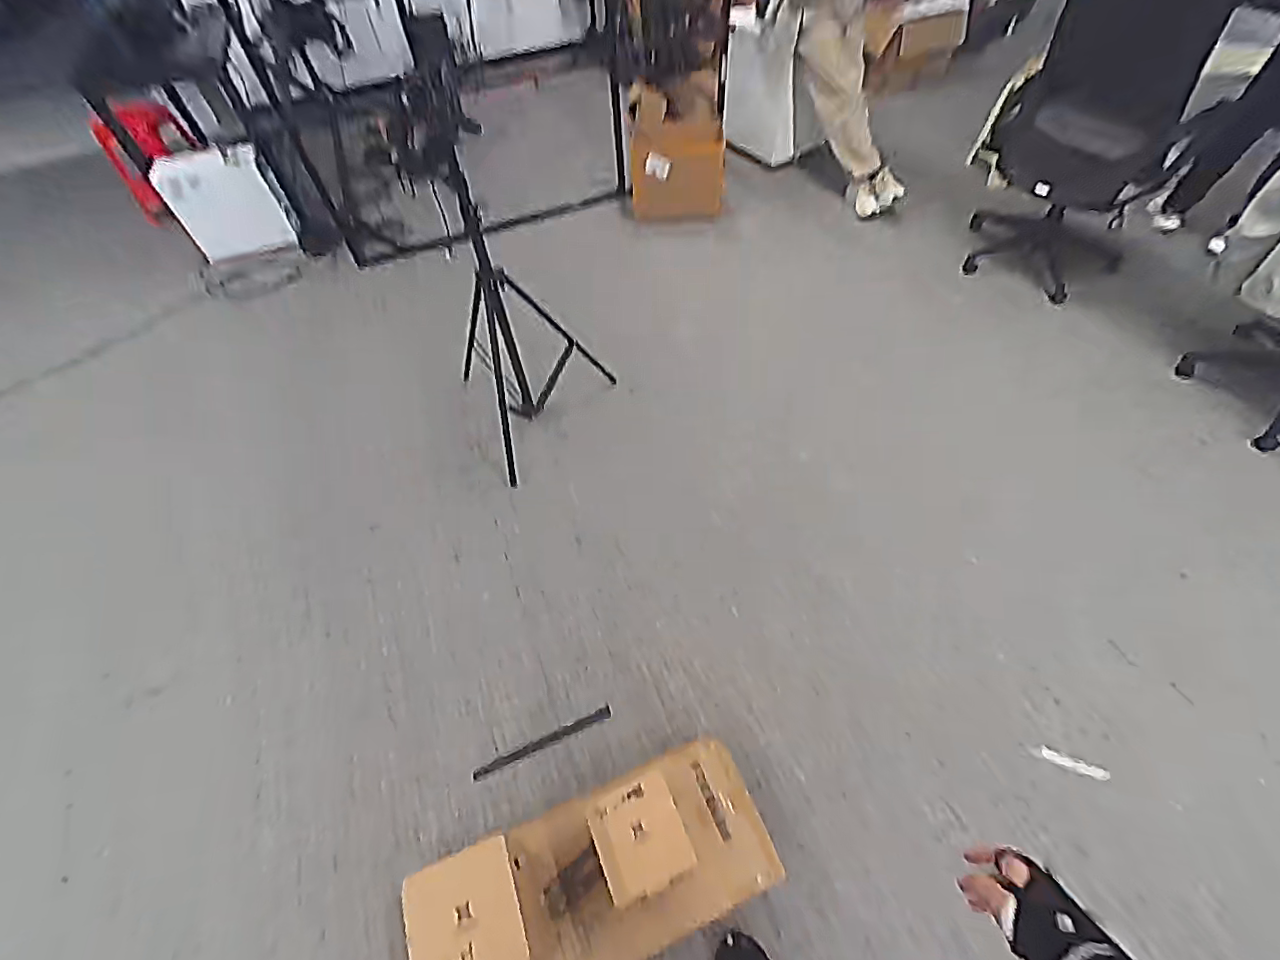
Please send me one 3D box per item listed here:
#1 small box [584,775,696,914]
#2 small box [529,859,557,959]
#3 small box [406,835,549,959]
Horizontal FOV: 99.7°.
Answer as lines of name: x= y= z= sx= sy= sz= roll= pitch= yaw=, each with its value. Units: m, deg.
small box: x=0.004 y=0.719 z=1.077 sx=0.168 sy=0.176 sz=0.179 roll=-21 pitch=55 yaw=-9
small box: x=-0.268 y=0.832 z=1.010 sx=0.168 sy=0.176 sz=0.179 roll=-21 pitch=55 yaw=-12
small box: x=-0.262 y=0.720 z=0.886 sx=0.168 sy=0.176 sz=0.179 roll=-20 pitch=54 yaw=-11
